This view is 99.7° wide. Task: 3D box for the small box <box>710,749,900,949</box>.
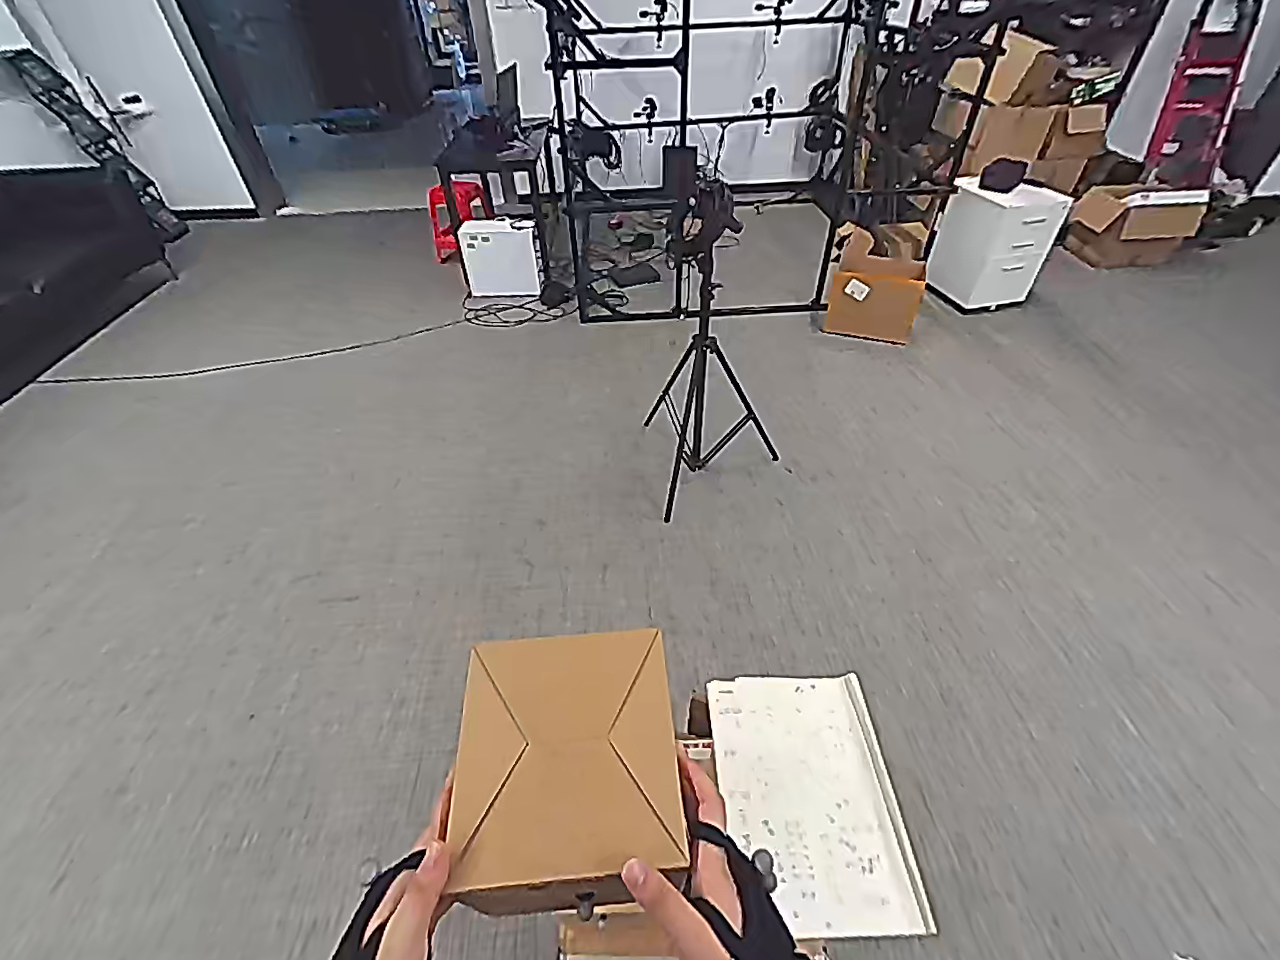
[{"bbox_3d":[0.183,0.455,0.668,0.168,0.176,0.179,0,45,-2],"label":"small box"}]
